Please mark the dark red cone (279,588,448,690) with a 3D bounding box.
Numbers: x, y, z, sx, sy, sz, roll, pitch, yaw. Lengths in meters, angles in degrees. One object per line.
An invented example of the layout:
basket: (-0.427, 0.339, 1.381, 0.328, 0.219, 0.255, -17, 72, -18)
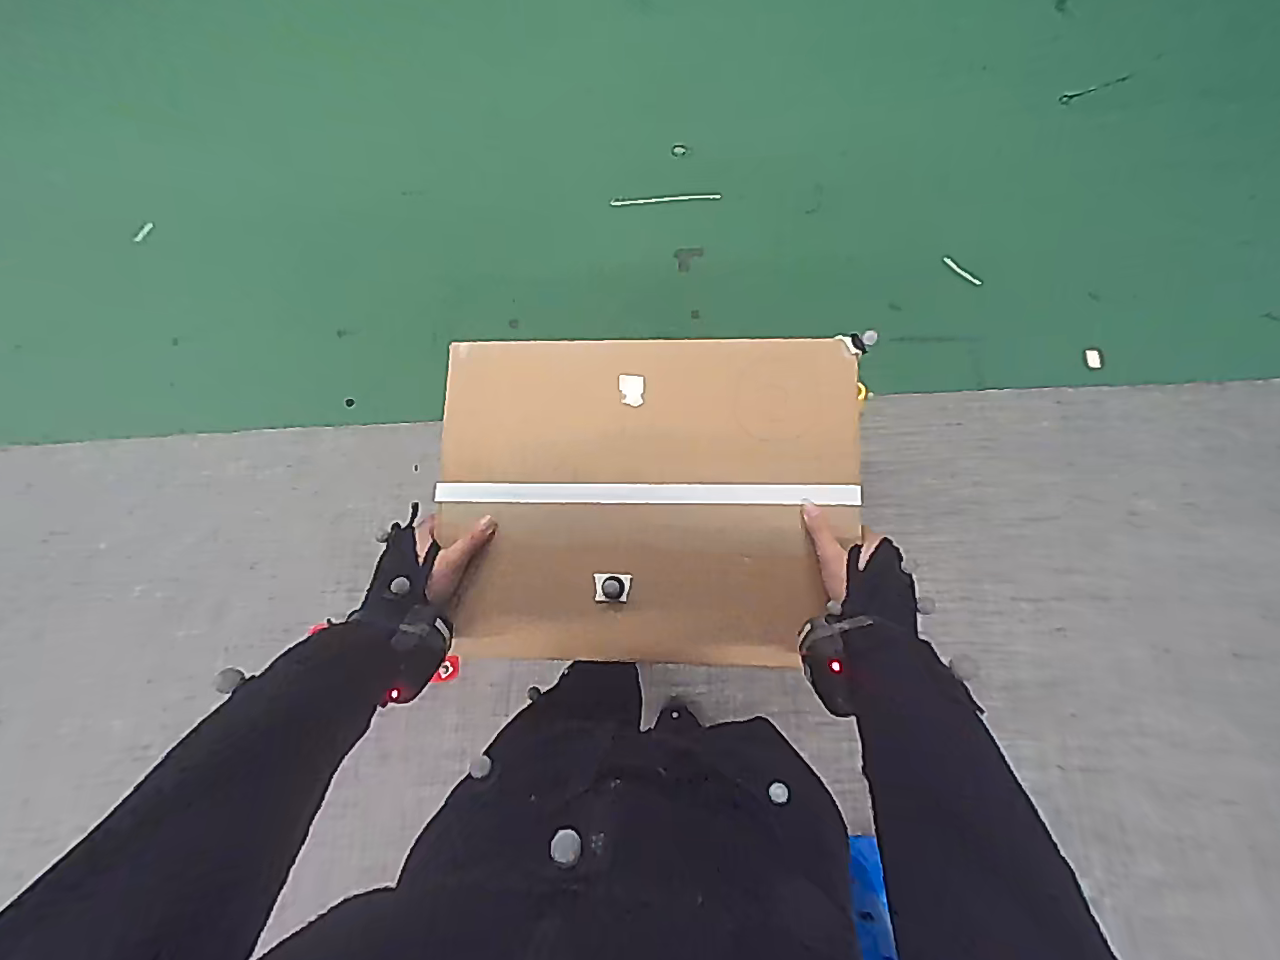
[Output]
dark red cone: (-0.543, 0.297, 1.057, 0.202, 0.394, 0.201, -10, 69, 3)
